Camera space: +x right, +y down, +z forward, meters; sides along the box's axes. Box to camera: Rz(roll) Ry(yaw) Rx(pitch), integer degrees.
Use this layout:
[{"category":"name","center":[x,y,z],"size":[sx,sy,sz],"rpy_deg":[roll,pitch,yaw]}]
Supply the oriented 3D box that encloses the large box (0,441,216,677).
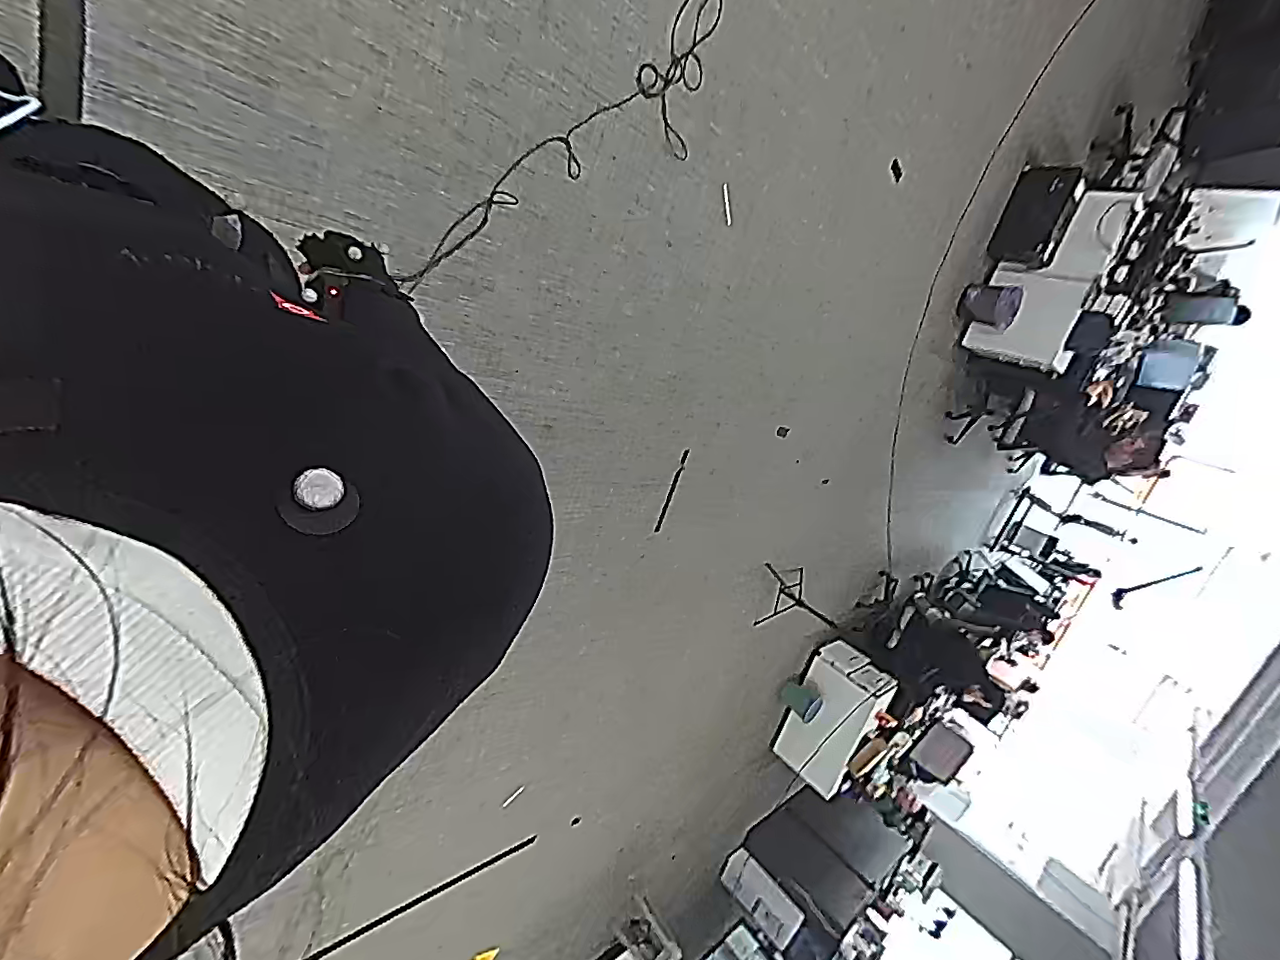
[{"category":"large box","center":[-1.070,0.125,1.013],"size":[0.408,0.320,0.320],"rpy_deg":[-5,116,-42]}]
